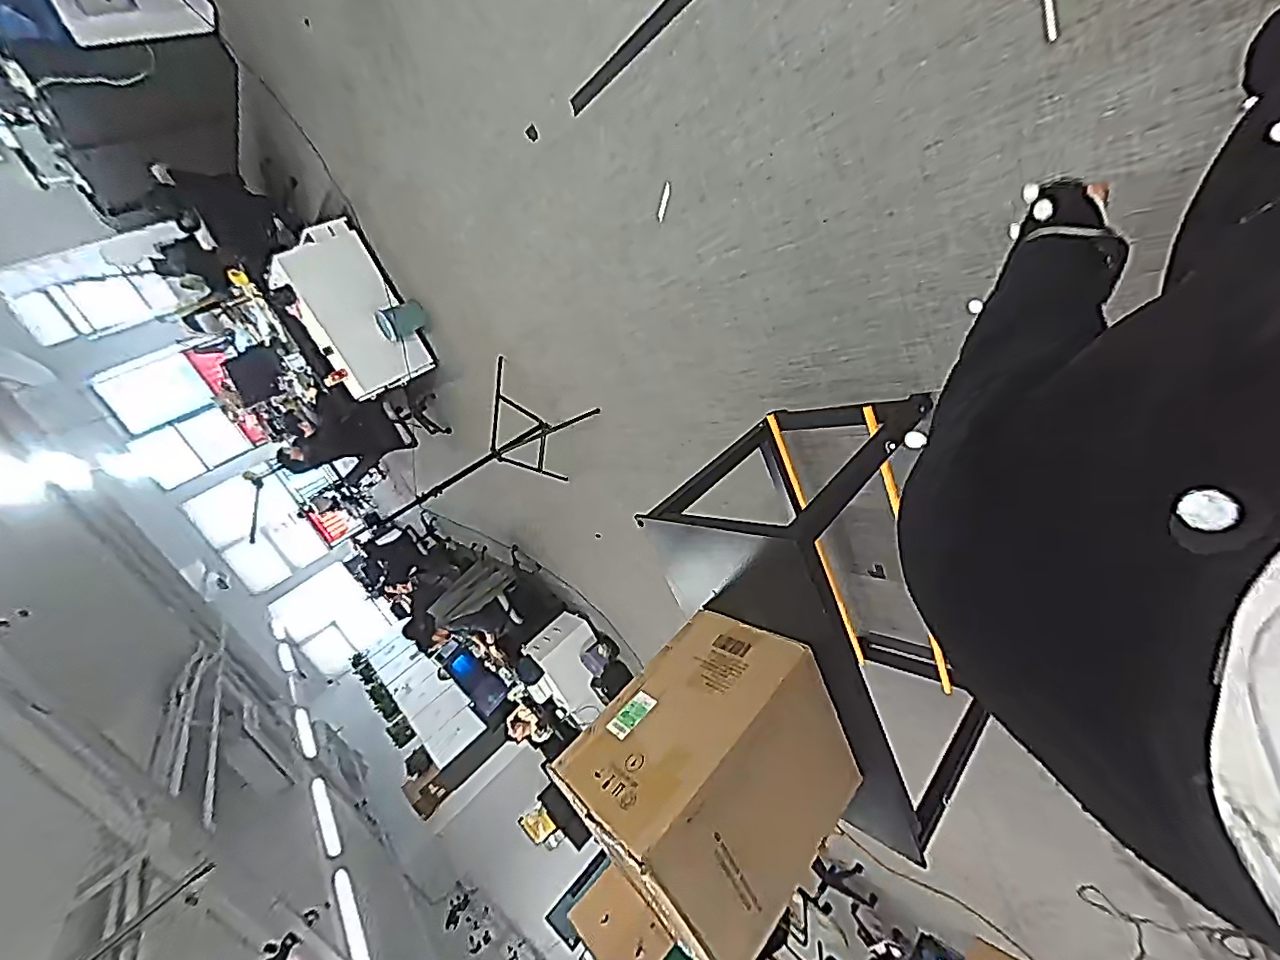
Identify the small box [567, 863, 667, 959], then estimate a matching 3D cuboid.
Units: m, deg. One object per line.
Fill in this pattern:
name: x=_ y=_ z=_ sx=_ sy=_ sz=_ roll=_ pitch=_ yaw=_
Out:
small box: x=-0.051 y=1.145 z=1.391 sx=0.179 sy=0.176 sz=0.168 roll=0 pitch=122 yaw=57
